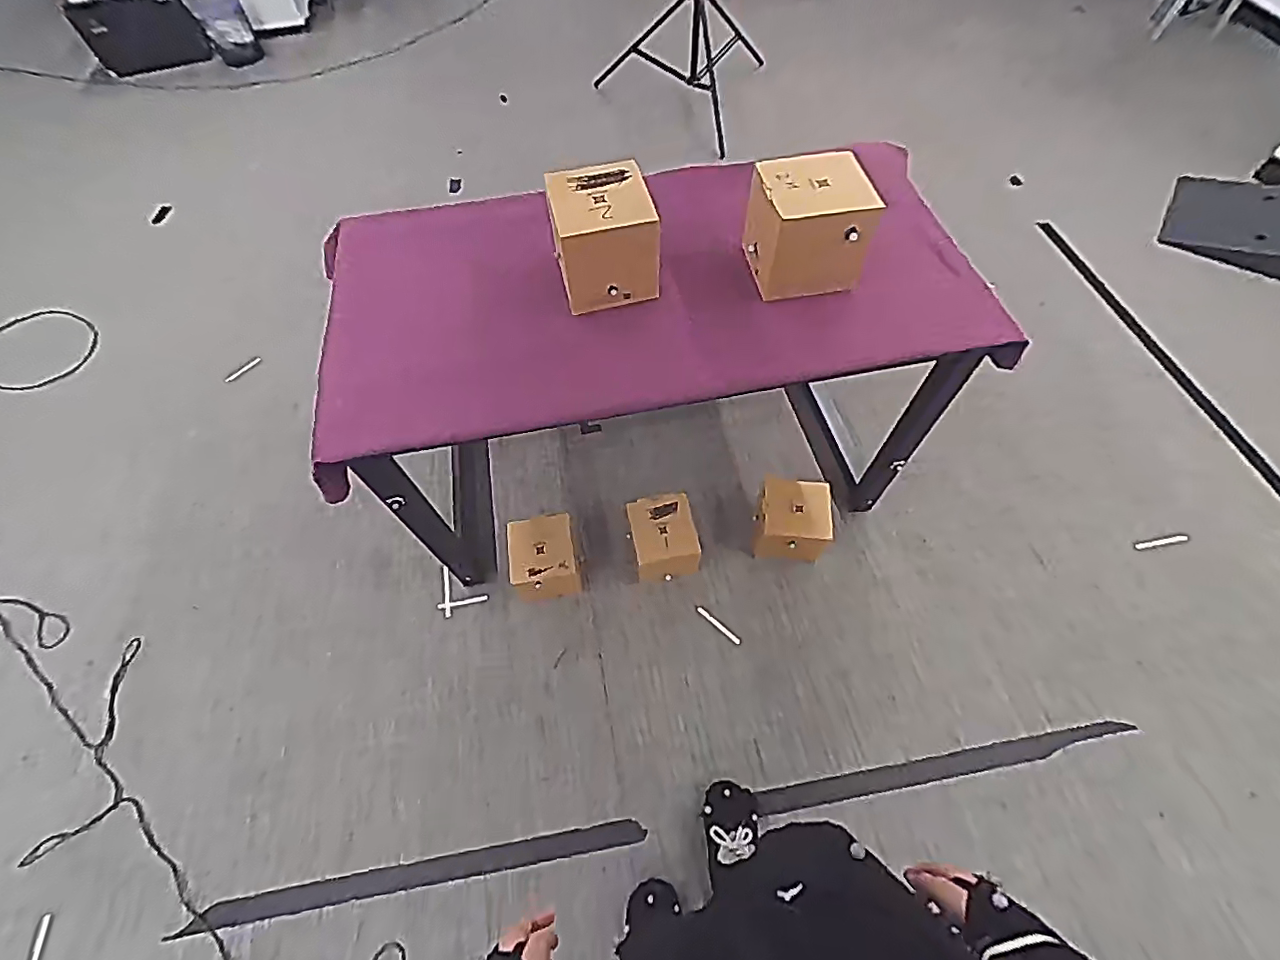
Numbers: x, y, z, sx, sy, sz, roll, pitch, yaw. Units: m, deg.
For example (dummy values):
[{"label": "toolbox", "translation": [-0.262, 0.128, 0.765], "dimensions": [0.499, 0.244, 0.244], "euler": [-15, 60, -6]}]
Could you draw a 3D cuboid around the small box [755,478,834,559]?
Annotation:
[{"label": "small box", "translation": [0.419, 0.109, 1.485], "dimensions": [0.179, 0.176, 0.168], "euler": [4, 62, 6]}]

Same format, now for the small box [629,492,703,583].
[{"label": "small box", "translation": [0.065, 0.159, 1.469], "dimensions": [0.168, 0.176, 0.179], "euler": [-11, 62, -4]}]

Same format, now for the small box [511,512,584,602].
[{"label": "small box", "translation": [-0.247, 0.210, 1.453], "dimensions": [0.168, 0.176, 0.179], "euler": [-9, 59, -3]}]

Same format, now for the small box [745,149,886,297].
[{"label": "small box", "translation": [0.300, -0.454, 0.967], "dimensions": [0.179, 0.176, 0.168], "euler": [-9, 60, -2]}]
